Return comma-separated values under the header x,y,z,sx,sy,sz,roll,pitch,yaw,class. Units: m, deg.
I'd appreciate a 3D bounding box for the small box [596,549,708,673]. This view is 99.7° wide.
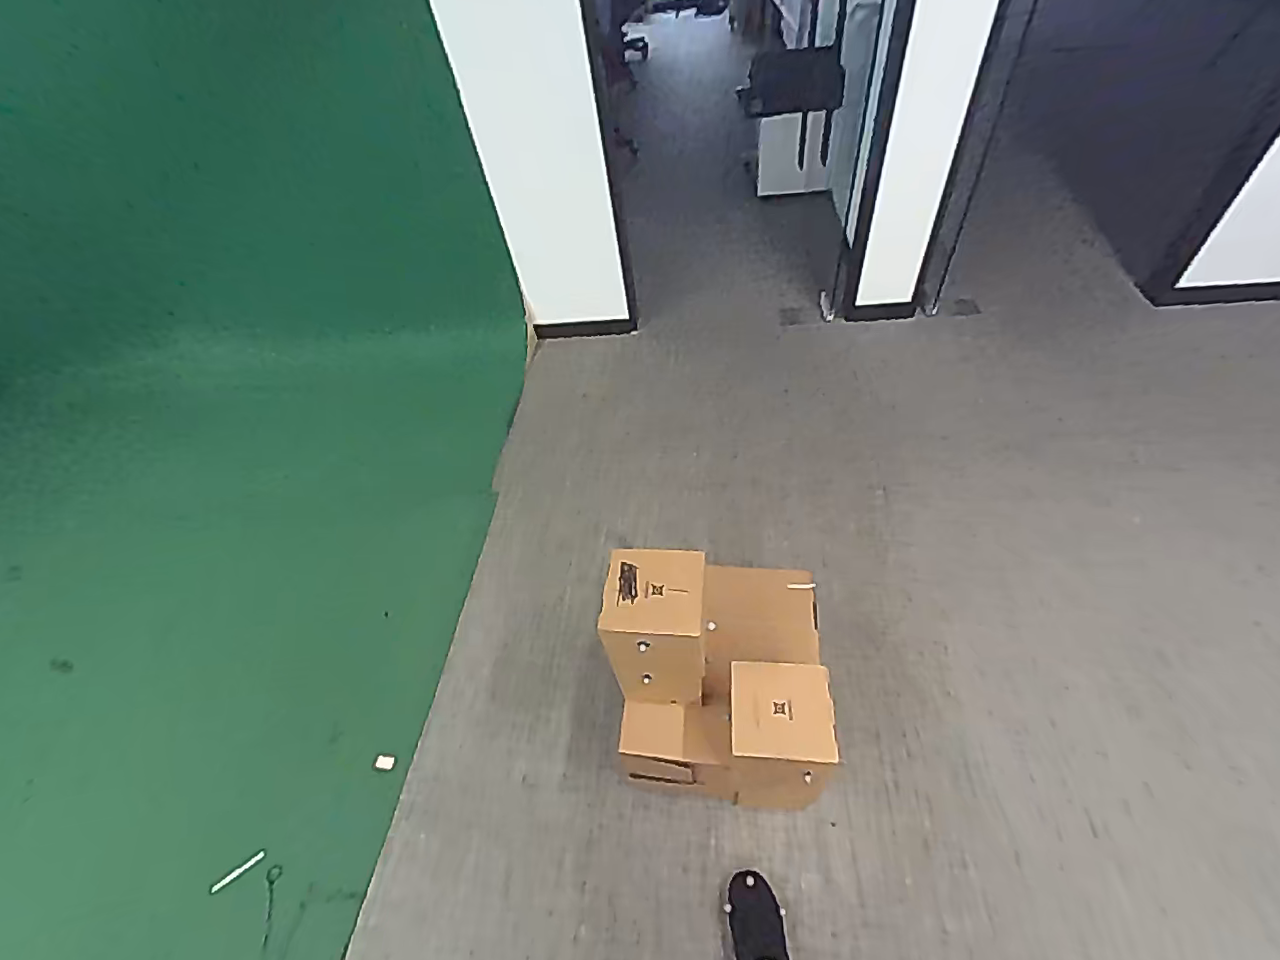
x,y,z,sx,sy,sz,roll,pitch,yaw,class
0.031,0.244,0.997,0.179,0.176,0.168,1,49,10,small box

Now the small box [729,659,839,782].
x,y,z,sx,sy,sz,roll,pitch,yaw,class
0.256,0.448,1.003,0.179,0.176,0.168,0,49,9,small box

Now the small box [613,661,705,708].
x,y,z,sx,sy,sz,roll,pitch,yaw,class
0.048,0.349,1.123,0.168,0.176,0.179,1,48,10,small box
